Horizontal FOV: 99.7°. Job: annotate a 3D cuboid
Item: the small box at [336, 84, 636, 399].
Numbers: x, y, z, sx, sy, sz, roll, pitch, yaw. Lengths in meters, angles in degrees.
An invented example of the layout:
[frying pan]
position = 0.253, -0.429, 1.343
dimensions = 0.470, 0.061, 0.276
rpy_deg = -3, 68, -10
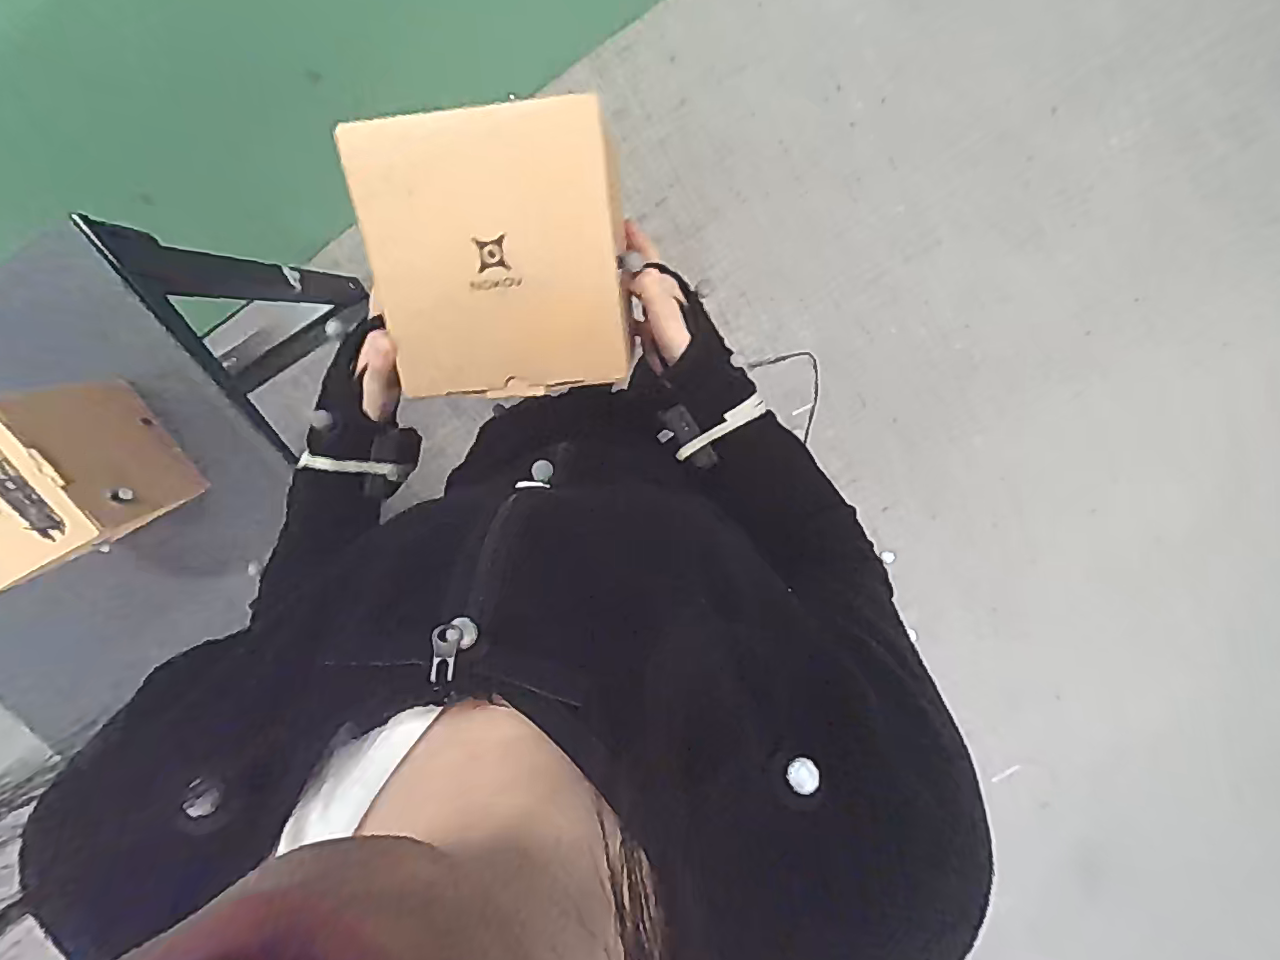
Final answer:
[small box]
position = -0.094, -0.174, 0.424
dimensions = 0.168, 0.176, 0.179
rpy_deg = -6, 113, 2
